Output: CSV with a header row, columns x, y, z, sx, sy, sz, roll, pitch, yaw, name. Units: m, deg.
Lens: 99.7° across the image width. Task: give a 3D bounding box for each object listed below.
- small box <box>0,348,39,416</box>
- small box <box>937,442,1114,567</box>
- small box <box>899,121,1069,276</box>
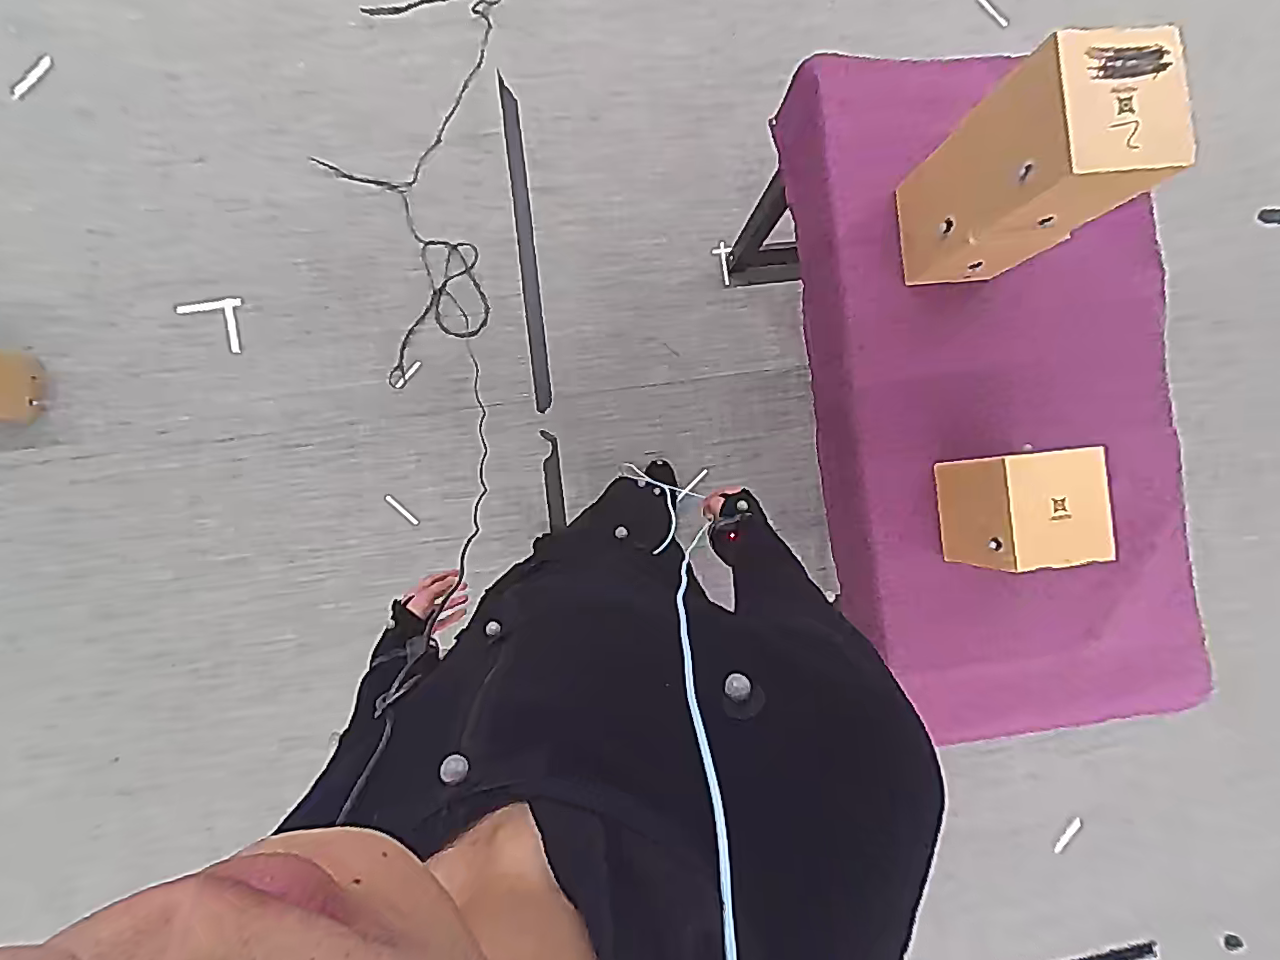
x,y,z,sx,sy,sz,roll,pitch,yaw,name
-1.739,-0.260,1.412,0.179,0.176,0.168,-4,89,-4,small box
0.617,0.038,0.887,0.168,0.176,0.179,-6,90,-6,small box
0.550,-0.446,0.885,0.168,0.176,0.179,-5,90,-6,small box
